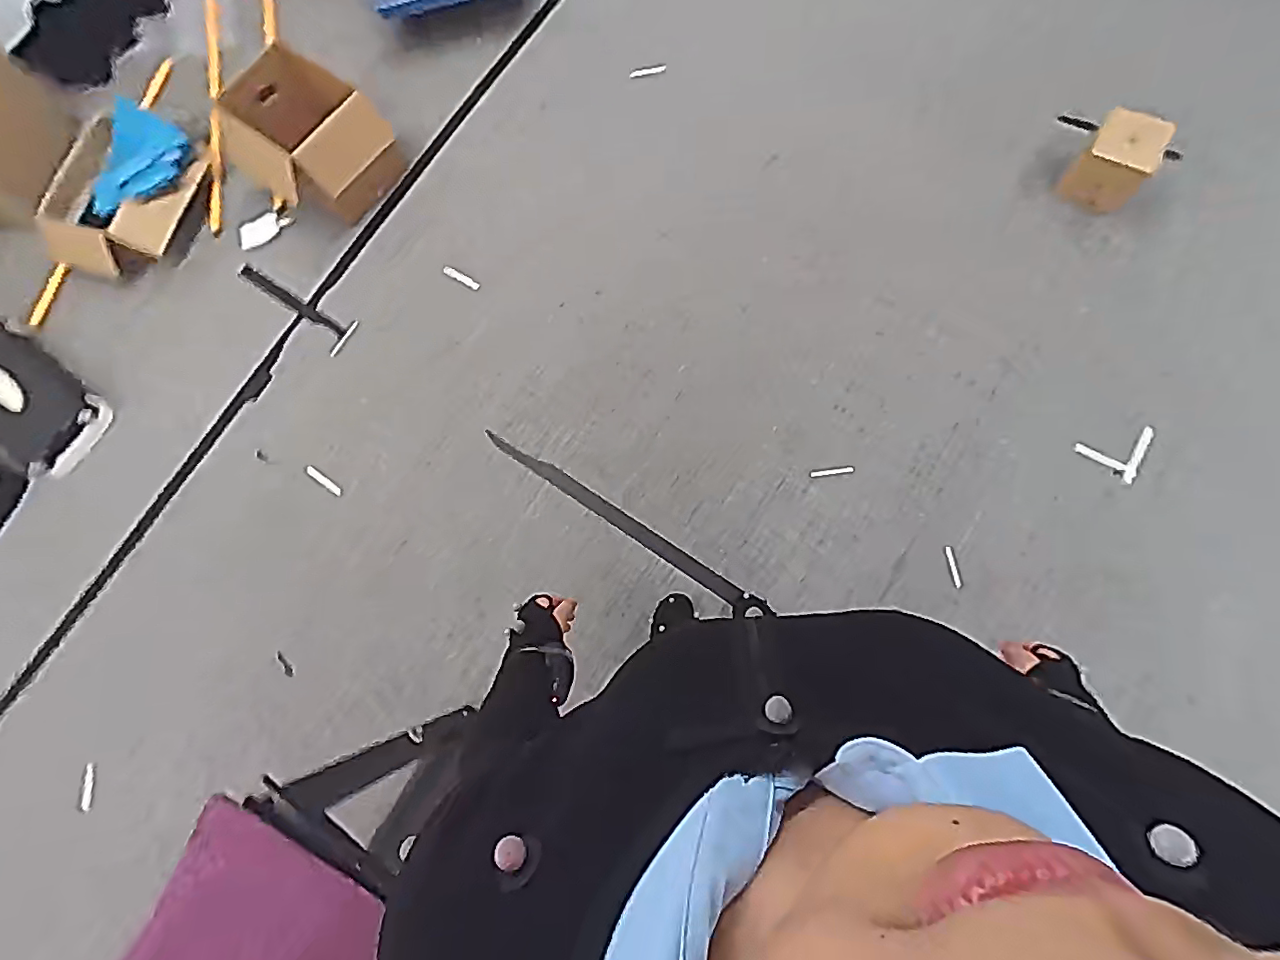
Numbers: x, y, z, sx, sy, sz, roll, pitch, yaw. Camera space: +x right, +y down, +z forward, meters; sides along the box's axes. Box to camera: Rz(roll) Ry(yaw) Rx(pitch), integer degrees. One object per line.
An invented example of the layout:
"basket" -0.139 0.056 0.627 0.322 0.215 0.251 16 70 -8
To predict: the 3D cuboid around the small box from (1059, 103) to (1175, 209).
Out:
"small box" 1.362 -0.927 1.559 0.168 0.176 0.179 29 81 12
